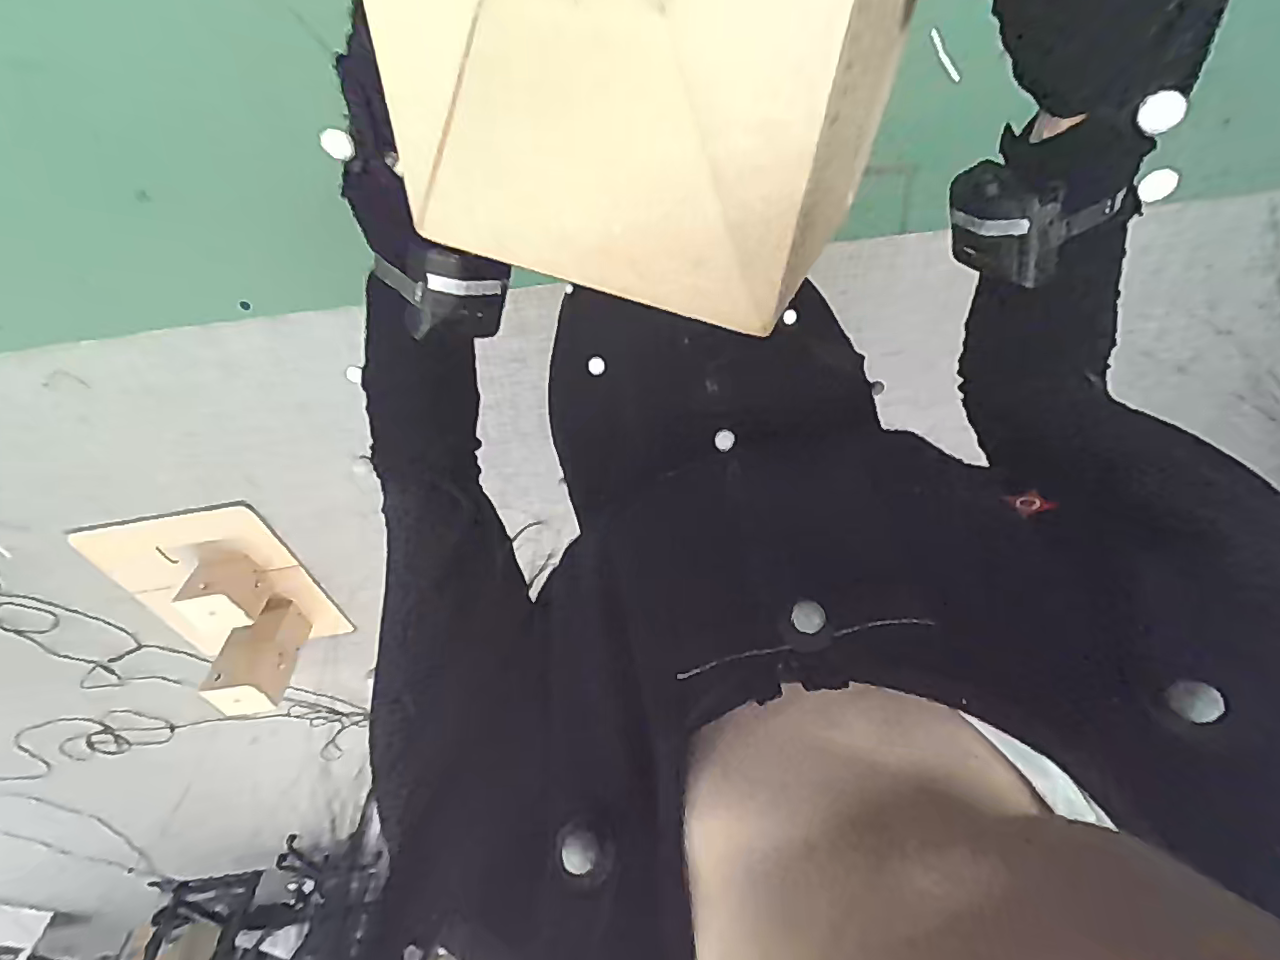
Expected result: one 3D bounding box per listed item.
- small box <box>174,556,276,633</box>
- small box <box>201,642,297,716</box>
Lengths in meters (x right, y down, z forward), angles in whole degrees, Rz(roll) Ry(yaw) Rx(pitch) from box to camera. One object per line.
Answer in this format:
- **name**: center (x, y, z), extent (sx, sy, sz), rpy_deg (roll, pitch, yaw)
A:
- **small box**: center (-1.365, 0.377, 1.793), extent (0.179, 0.176, 0.168), rpy_deg (-11, 129, 2)
- **small box**: center (-1.307, 0.667, 1.822), extent (0.179, 0.176, 0.168), rpy_deg (-7, 131, 0)
